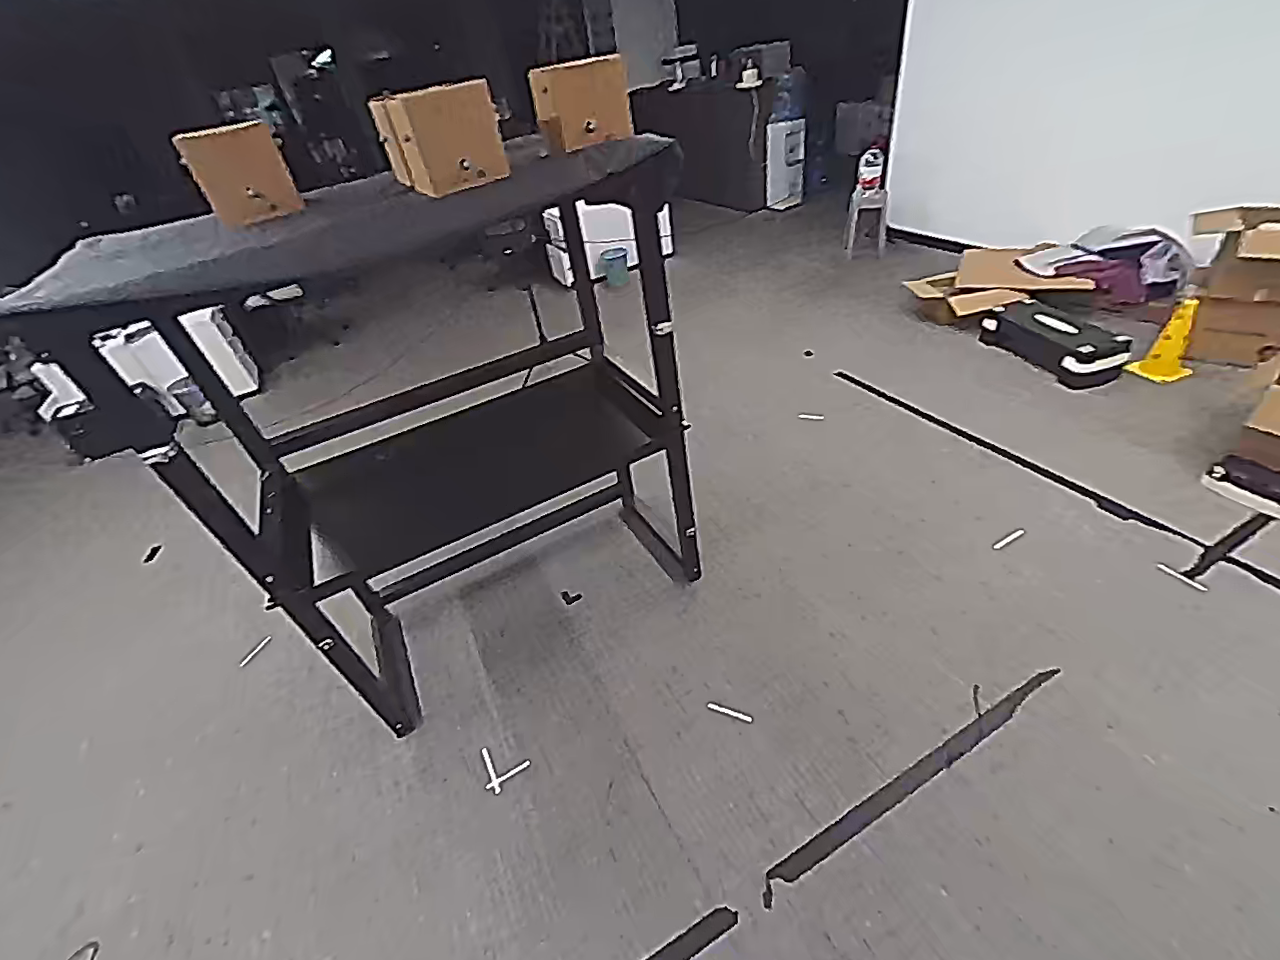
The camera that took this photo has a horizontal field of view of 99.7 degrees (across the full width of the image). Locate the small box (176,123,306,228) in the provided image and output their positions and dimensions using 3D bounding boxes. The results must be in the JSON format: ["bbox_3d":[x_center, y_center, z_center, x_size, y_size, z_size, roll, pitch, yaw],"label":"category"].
[{"bbox_3d":[-0.859,-0.664,1.180,0.168,0.176,0.179,-27,42,-19],"label":"small box"}]

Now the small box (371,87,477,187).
[{"bbox_3d":[-0.501,-0.799,1.264,0.168,0.176,0.179,-26,40,-19],"label":"small box"}]

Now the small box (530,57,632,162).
[{"bbox_3d":[-0.132,-0.833,1.222,0.168,0.176,0.179,-22,40,-13],"label":"small box"}]
